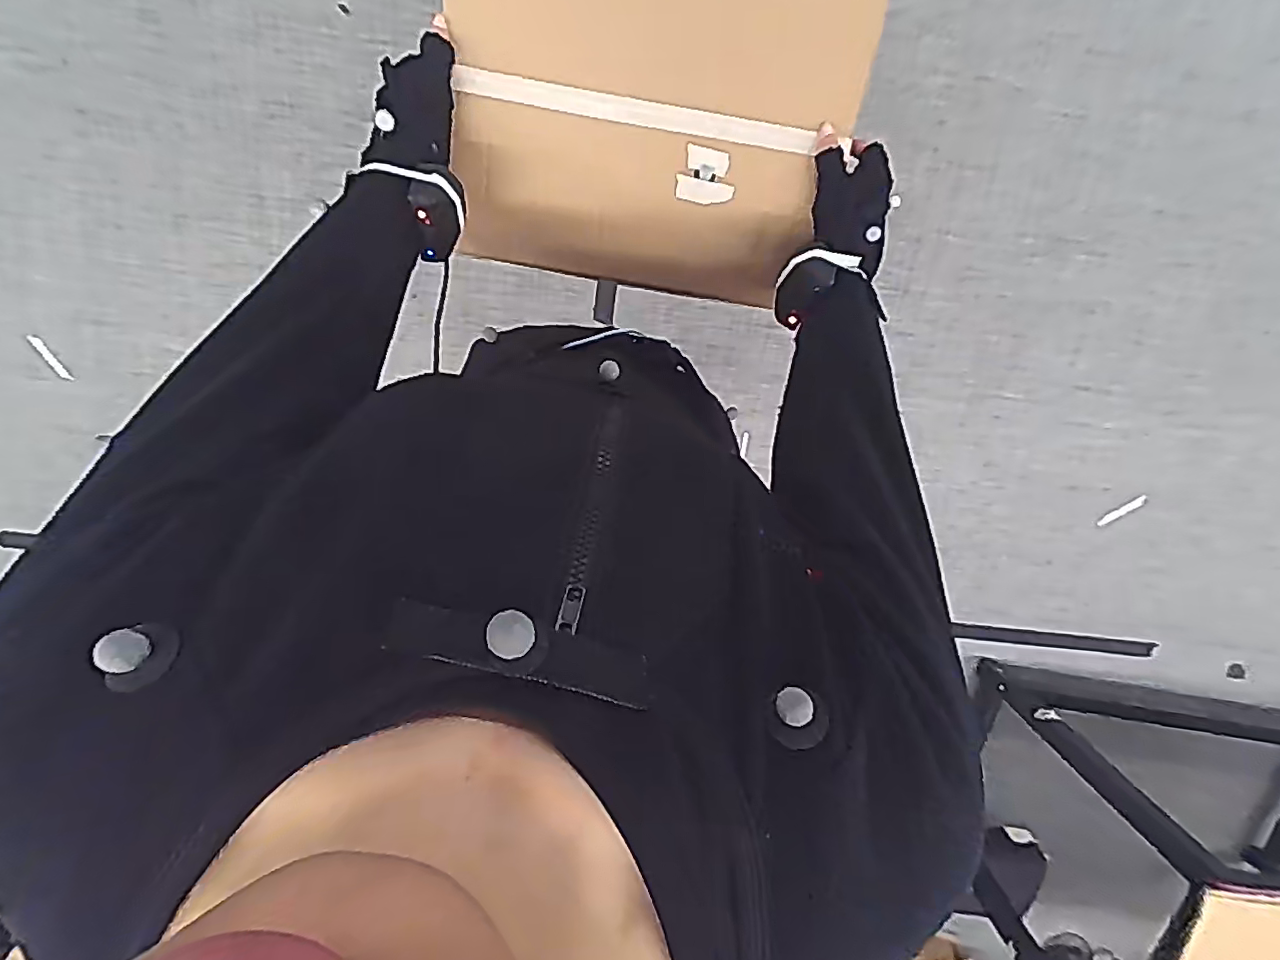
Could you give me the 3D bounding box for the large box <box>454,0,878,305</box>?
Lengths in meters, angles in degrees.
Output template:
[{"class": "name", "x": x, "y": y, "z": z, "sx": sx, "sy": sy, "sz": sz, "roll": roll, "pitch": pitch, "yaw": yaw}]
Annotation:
[{"class": "large box", "x": 0.011, "y": -0.416, "z": 0.690, "sx": 0.408, "sy": 0.320, "sz": 0.320, "roll": 9, "pitch": 110, "yaw": -3}]
